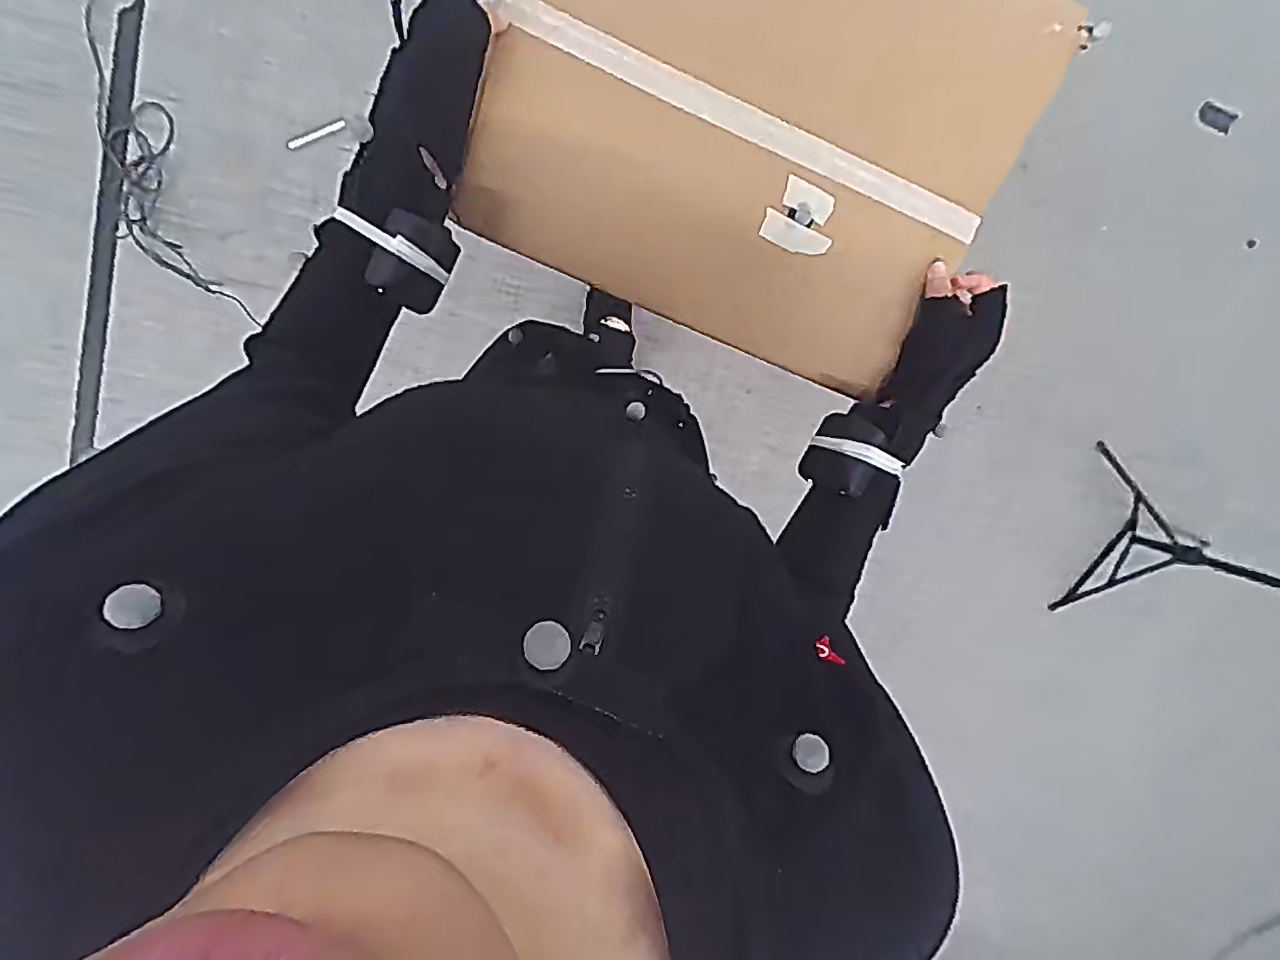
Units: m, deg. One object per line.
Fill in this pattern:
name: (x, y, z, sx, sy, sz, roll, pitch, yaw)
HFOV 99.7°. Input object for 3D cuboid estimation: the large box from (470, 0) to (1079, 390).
large box: (0.093, -0.335, 0.571, 0.408, 0.320, 0.320, 22, 110, -8)
